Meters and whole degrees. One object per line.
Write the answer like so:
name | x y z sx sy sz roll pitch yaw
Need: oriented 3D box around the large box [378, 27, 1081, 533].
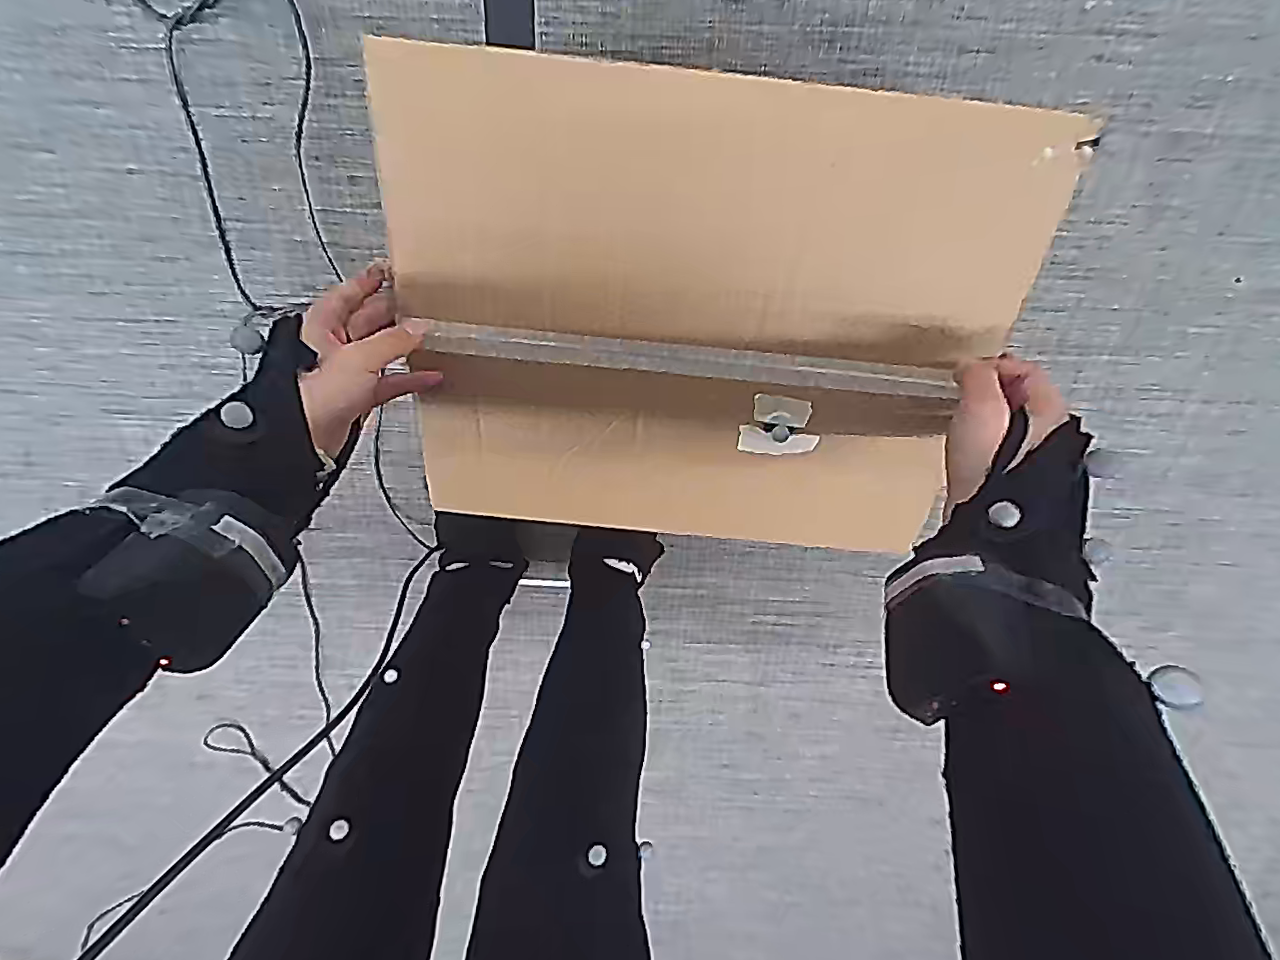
large box | 0.041 -0.175 0.502 0.408 0.320 0.320 5 122 -2
